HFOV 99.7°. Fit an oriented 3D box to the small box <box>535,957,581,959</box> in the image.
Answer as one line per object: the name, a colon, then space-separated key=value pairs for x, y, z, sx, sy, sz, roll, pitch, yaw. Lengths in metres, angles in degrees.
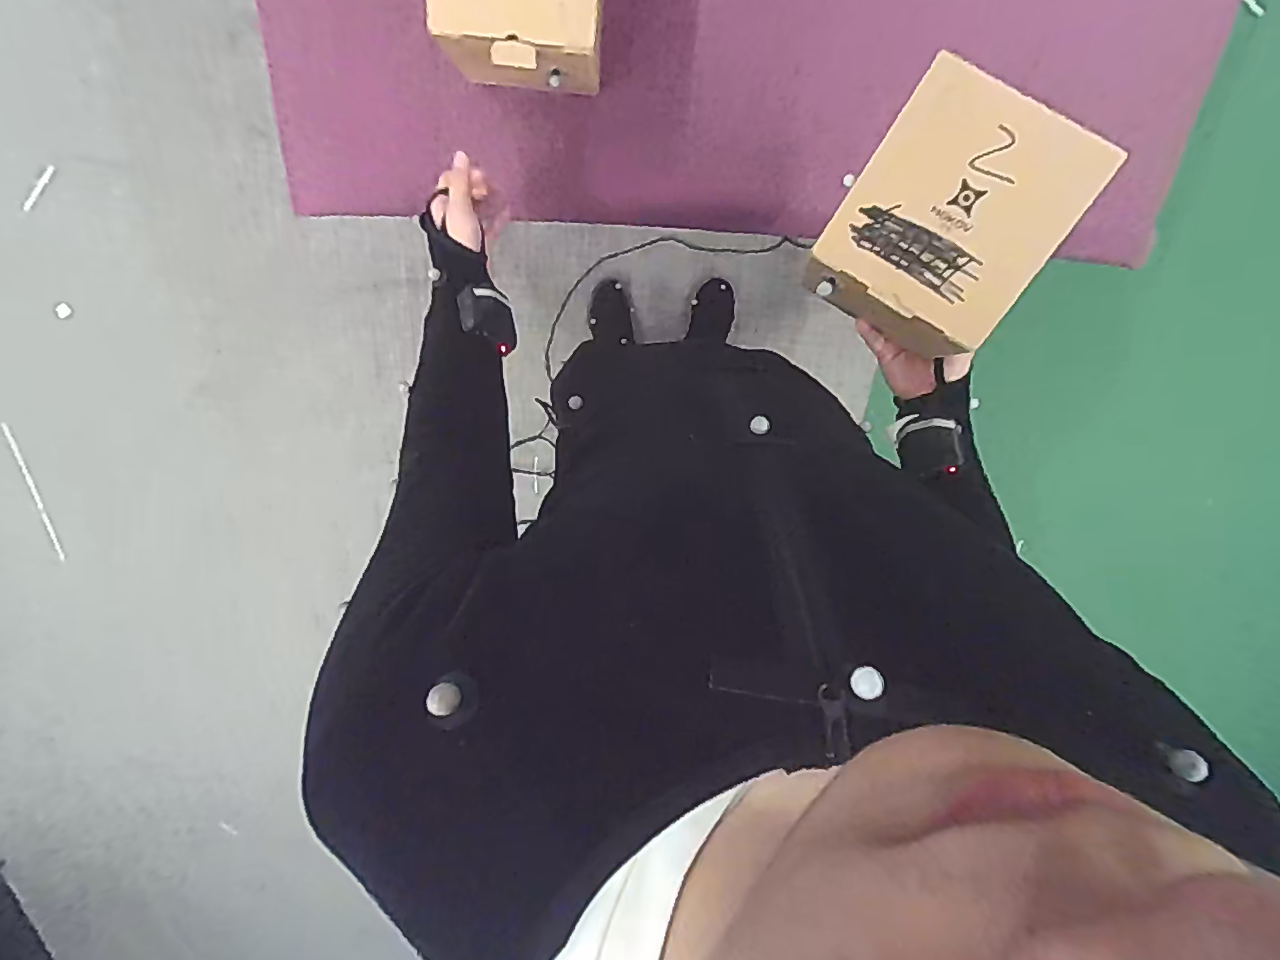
small box: x=-0.252 y=1.587 z=1.626 sx=0.168 sy=0.176 sz=0.179 roll=5 pitch=110 yaw=-4

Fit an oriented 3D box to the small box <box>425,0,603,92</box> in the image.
small box: x=-0.125 y=-0.548 z=0.582 sx=0.168 sy=0.176 sz=0.179 roll=4 pitch=112 yaw=-5
